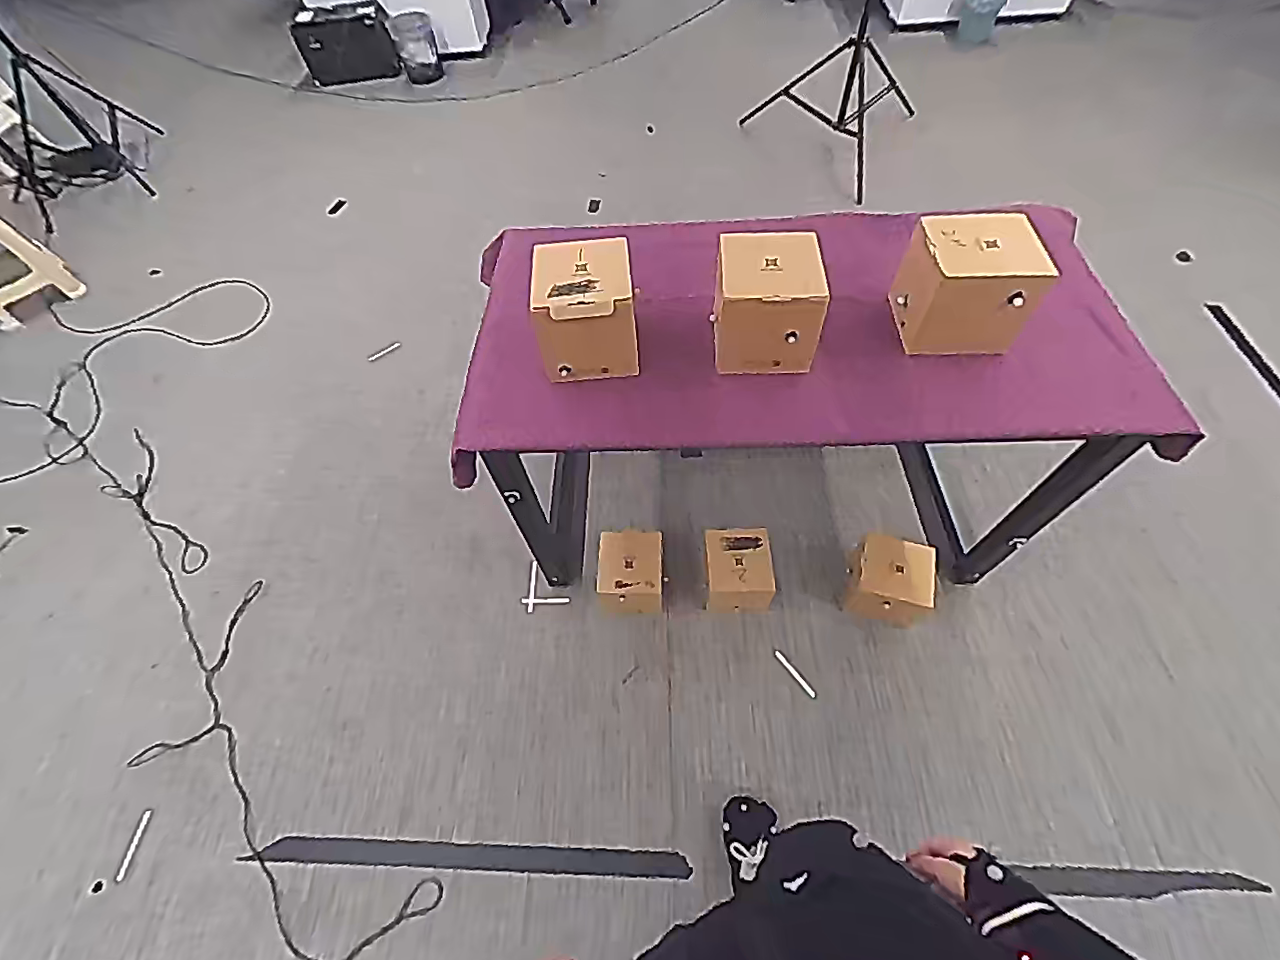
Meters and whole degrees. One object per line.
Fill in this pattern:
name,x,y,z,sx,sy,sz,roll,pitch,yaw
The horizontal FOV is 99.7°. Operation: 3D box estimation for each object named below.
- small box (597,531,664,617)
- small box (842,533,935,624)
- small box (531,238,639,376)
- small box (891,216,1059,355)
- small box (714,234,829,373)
small box,-0.020,0.257,1.475,0.168,0.176,0.179,1,56,4
small box,0.651,0.266,1.427,0.179,0.176,0.168,13,60,13
small box,-0.091,-0.299,0.964,0.168,0.176,0.179,-5,56,0
small box,0.568,-0.334,0.945,0.179,0.176,0.168,0,57,5
small box,0.220,-0.305,0.951,0.168,0.176,0.179,1,56,3
